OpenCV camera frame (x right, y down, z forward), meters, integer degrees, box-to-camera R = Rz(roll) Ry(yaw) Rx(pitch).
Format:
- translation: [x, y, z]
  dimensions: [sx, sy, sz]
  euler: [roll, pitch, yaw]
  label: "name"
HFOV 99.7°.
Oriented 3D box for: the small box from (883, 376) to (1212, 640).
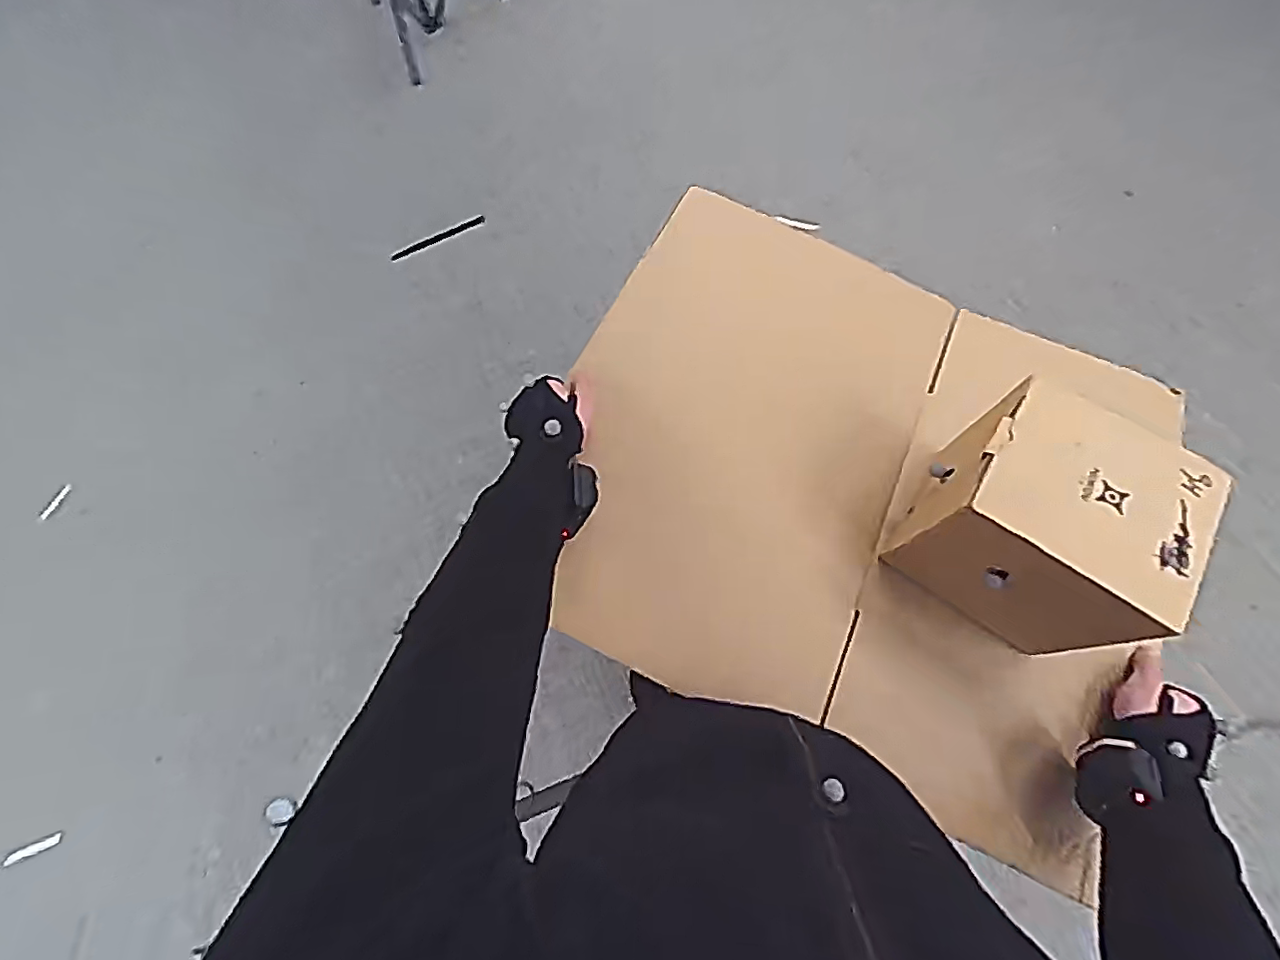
- translation: [0.377, 0.039, 0.533]
  dimensions: [0.179, 0.176, 0.168]
  euler: [34, 71, 13]
  label: "small box"
